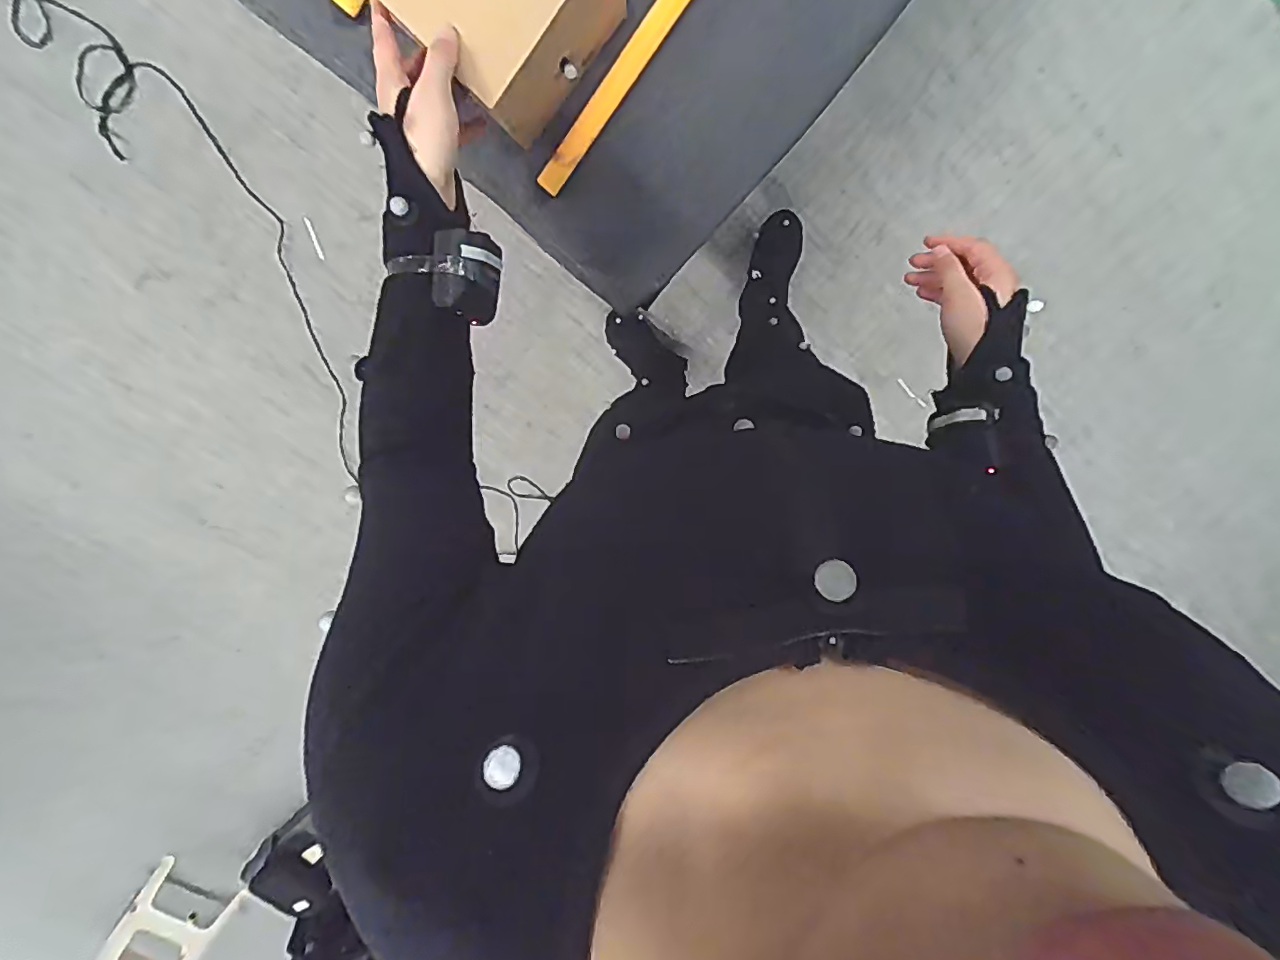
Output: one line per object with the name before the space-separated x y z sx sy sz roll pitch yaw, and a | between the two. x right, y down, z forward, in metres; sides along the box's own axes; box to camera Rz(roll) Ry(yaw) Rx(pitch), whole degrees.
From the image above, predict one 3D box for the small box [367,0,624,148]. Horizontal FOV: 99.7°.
small box | -0.126 -0.429 0.476 0.179 0.176 0.168 40 105 -14
